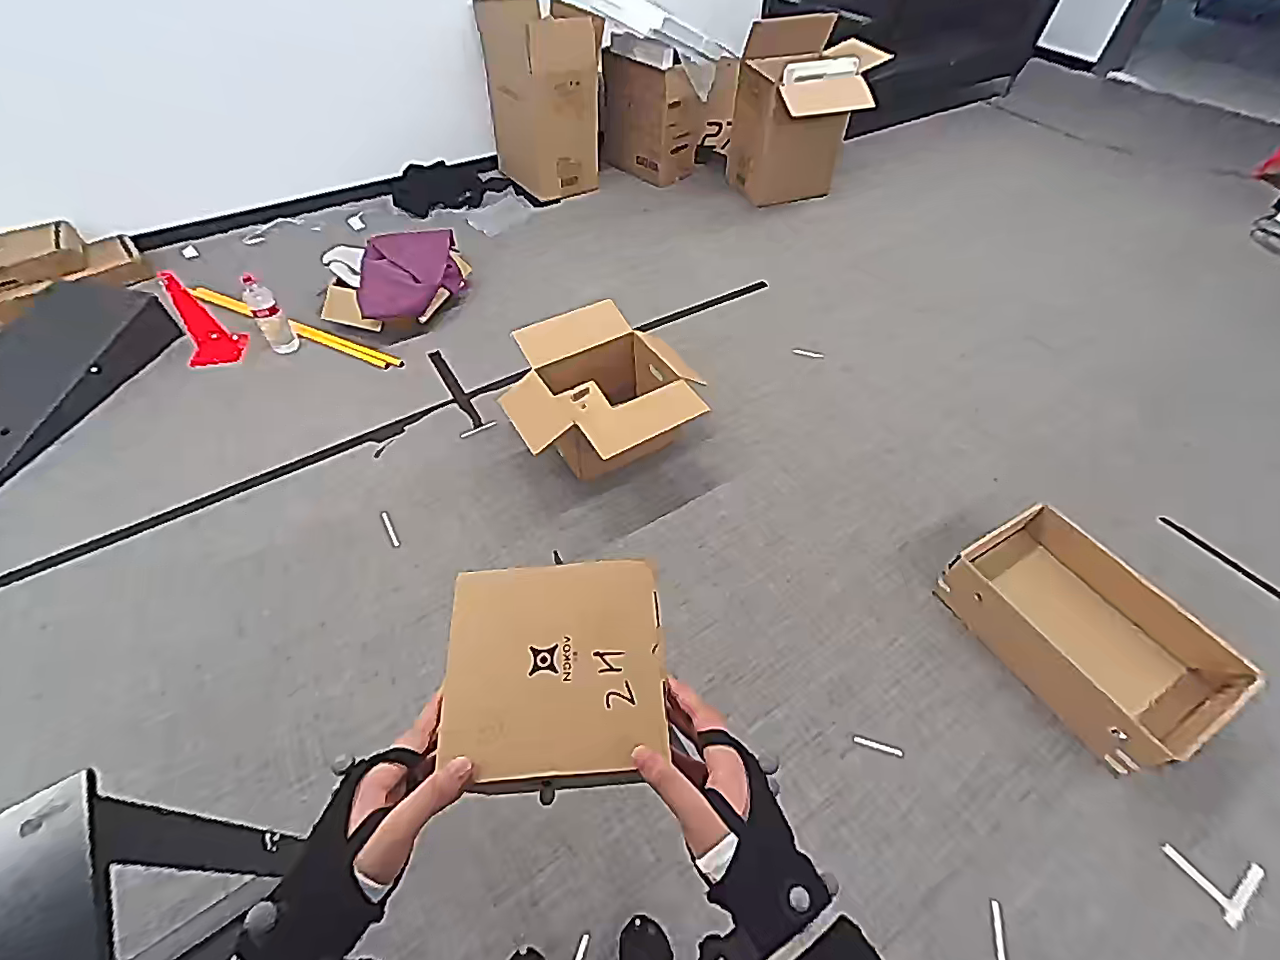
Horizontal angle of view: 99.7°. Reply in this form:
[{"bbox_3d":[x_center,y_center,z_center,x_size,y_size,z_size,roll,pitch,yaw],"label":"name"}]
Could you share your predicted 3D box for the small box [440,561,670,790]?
[{"bbox_3d":[-0.066,0.190,0.510,0.179,0.176,0.168,-4,58,-2],"label":"small box"}]
